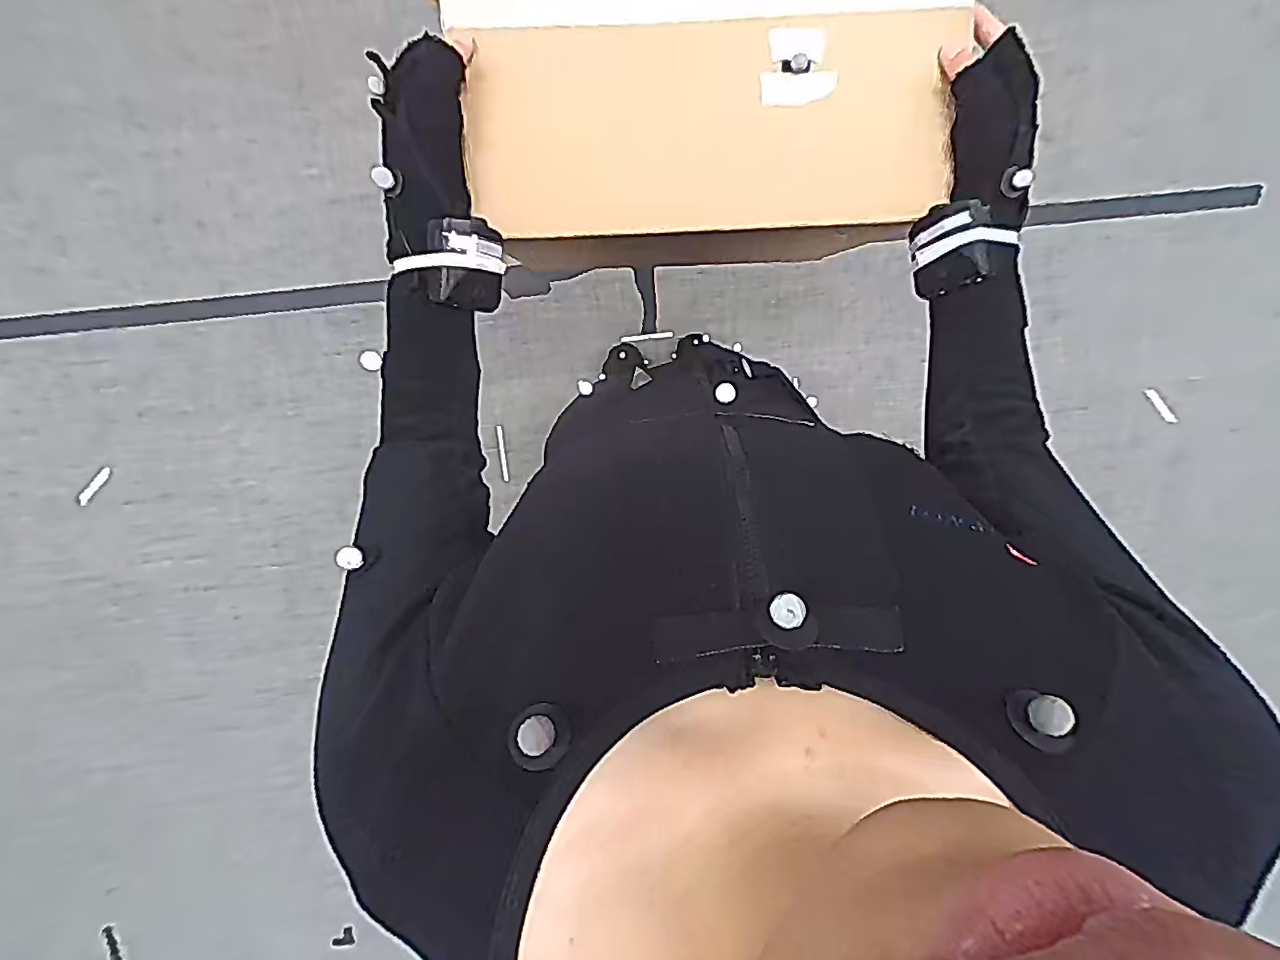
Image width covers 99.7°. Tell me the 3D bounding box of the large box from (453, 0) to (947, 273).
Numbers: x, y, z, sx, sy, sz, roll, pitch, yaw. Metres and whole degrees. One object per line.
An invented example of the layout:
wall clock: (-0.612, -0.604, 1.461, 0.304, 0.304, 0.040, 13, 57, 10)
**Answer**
large box: (0.044, -0.410, 0.576, 0.408, 0.320, 0.320, -4, 107, -2)
